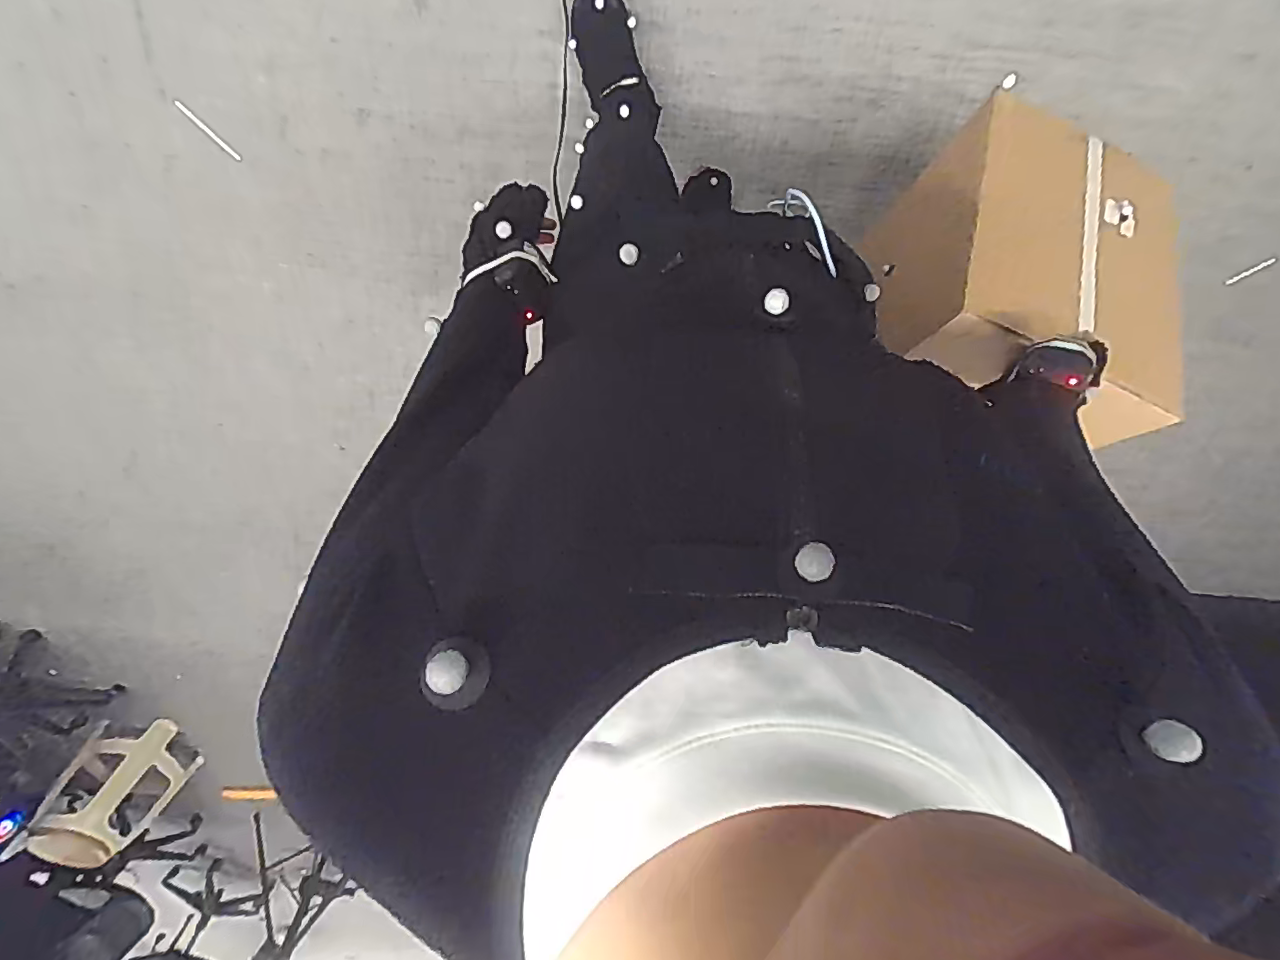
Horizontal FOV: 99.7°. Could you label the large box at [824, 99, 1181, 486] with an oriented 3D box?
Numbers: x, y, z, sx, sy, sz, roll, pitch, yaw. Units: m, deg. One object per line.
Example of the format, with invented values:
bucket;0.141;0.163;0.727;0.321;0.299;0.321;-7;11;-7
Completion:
large box;0.529;-0.257;0.835;0.320;0.408;0.320;23;158;-7
